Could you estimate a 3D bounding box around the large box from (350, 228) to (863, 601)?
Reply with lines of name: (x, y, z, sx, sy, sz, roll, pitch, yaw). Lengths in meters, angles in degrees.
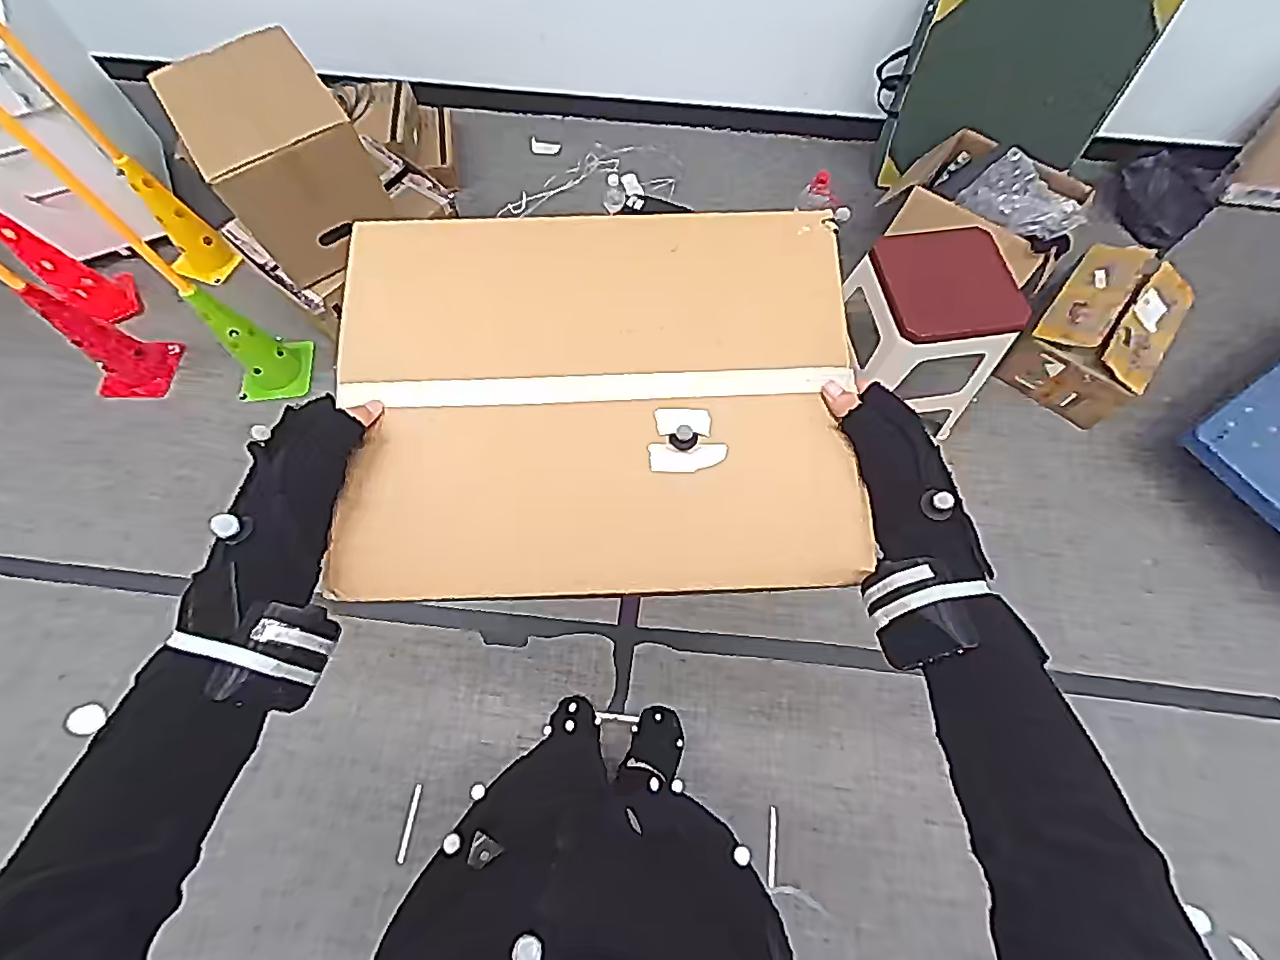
large box: (-0.032, -0.036, 0.591, 0.408, 0.320, 0.320, -2, 78, -1)
